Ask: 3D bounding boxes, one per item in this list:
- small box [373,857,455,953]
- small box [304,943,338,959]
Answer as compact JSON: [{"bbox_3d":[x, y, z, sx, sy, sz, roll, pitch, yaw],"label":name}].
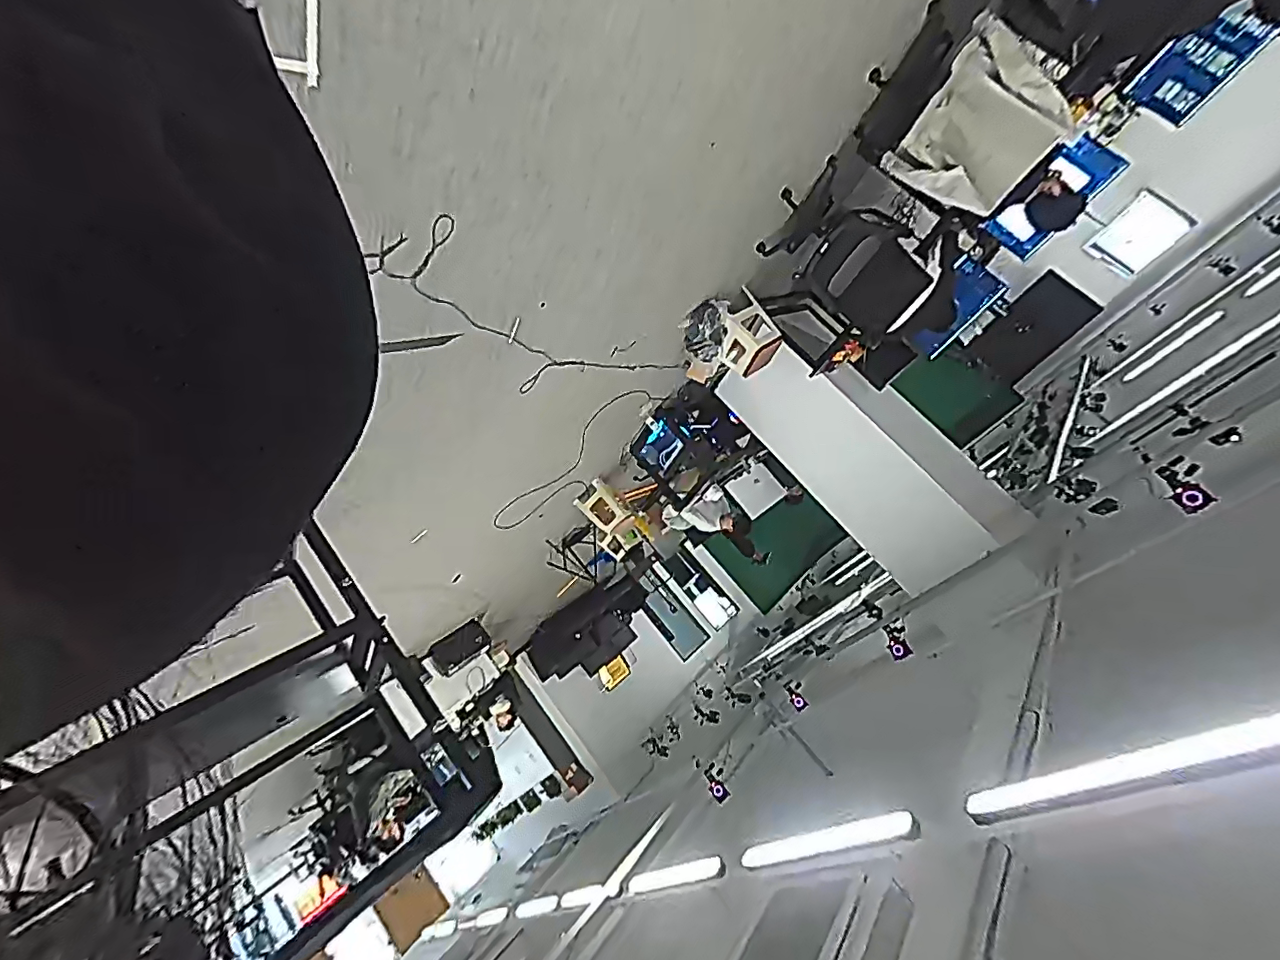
[{"bbox_3d":[-0.704,1.309,1.675,0.168,0.176,0.179,-28,163,-41],"label":"small box"},{"bbox_3d":[-0.891,1.399,1.455,0.168,0.176,0.179,-24,159,-48],"label":"small box"}]
